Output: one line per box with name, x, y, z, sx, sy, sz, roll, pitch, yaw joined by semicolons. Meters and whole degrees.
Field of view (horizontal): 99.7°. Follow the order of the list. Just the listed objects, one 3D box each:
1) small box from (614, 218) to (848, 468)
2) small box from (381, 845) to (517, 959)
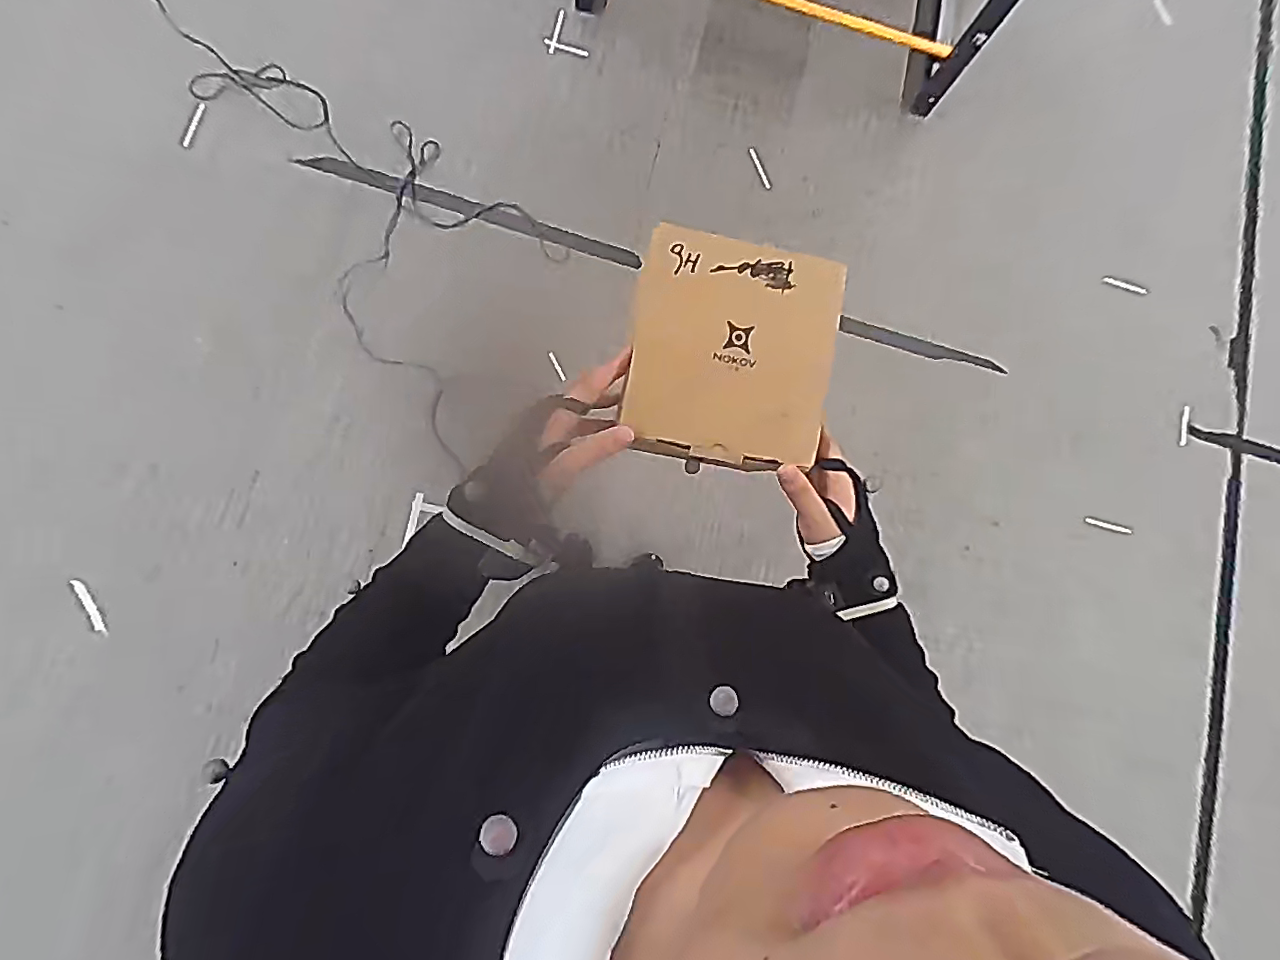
small box;0.070;-0.112;0.517;0.168;0.176;0.179;10;91;-5
small box;-0.295;0.714;0.843;0.168;0.176;0.179;12;79;-5
